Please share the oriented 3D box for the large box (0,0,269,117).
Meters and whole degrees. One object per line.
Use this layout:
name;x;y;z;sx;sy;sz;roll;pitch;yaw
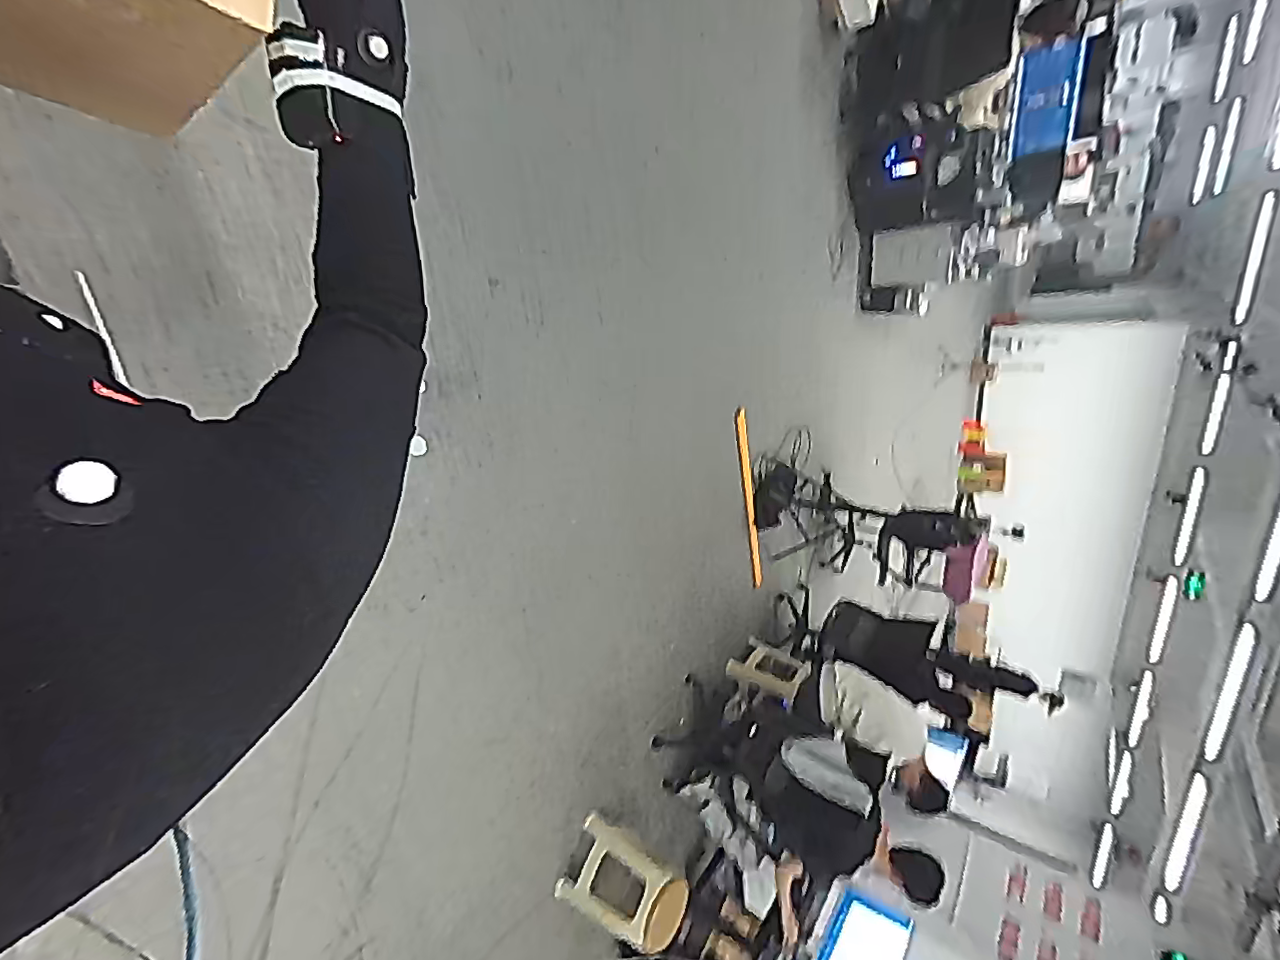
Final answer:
large box;-0.470;-0.467;0.274;0.408;0.320;0.320;-5;105;-50
